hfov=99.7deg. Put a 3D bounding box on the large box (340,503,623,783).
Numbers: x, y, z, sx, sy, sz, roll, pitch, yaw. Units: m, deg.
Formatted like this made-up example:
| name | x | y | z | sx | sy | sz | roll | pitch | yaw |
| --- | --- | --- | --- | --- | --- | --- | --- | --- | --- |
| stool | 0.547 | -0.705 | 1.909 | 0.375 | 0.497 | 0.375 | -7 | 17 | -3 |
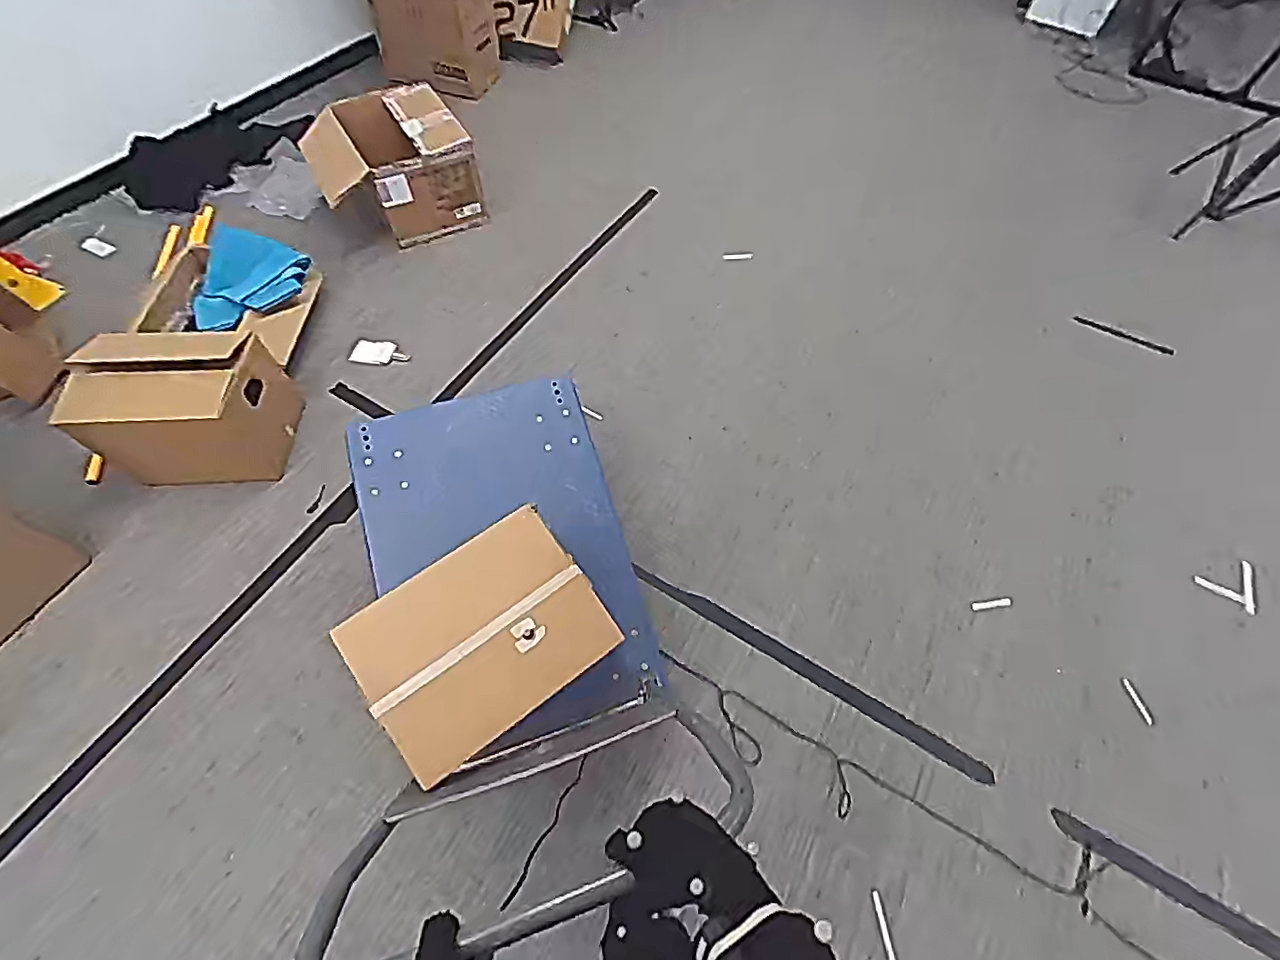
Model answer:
| name | x | y | z | sx | sy | sz | roll | pitch | yaw |
| --- | --- | --- | --- | --- | --- | --- | --- | --- | --- |
| large box | -0.293 | 0.314 | 1.097 | 0.408 | 0.320 | 0.320 | -35 | 81 | -16 |
